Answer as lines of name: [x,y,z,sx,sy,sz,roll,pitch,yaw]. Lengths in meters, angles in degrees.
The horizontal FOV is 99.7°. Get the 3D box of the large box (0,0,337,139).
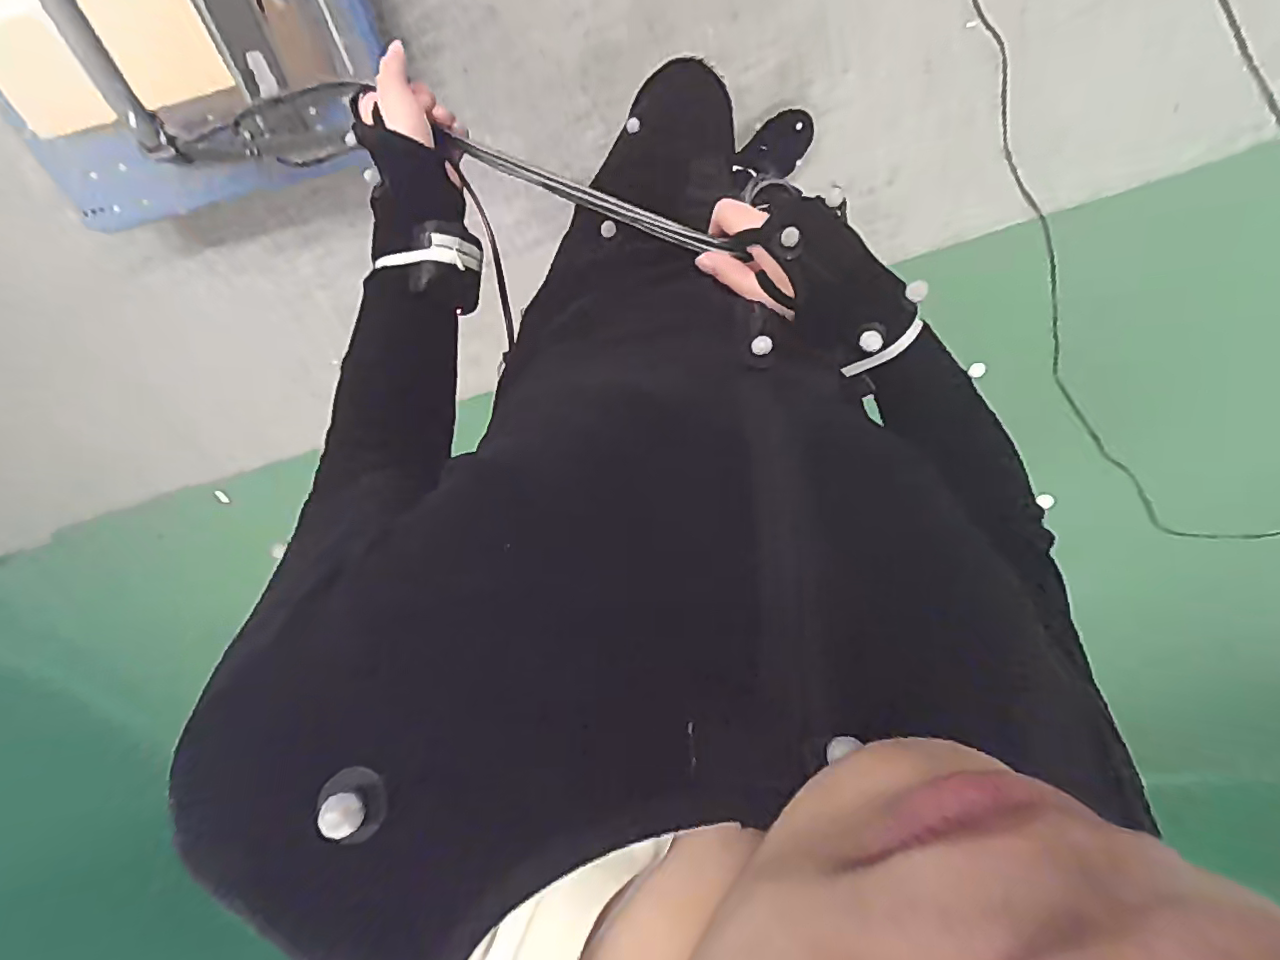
large box: [-0.830,-0.813,0.907,0.408,0.320,0.320,-6,126,10]
